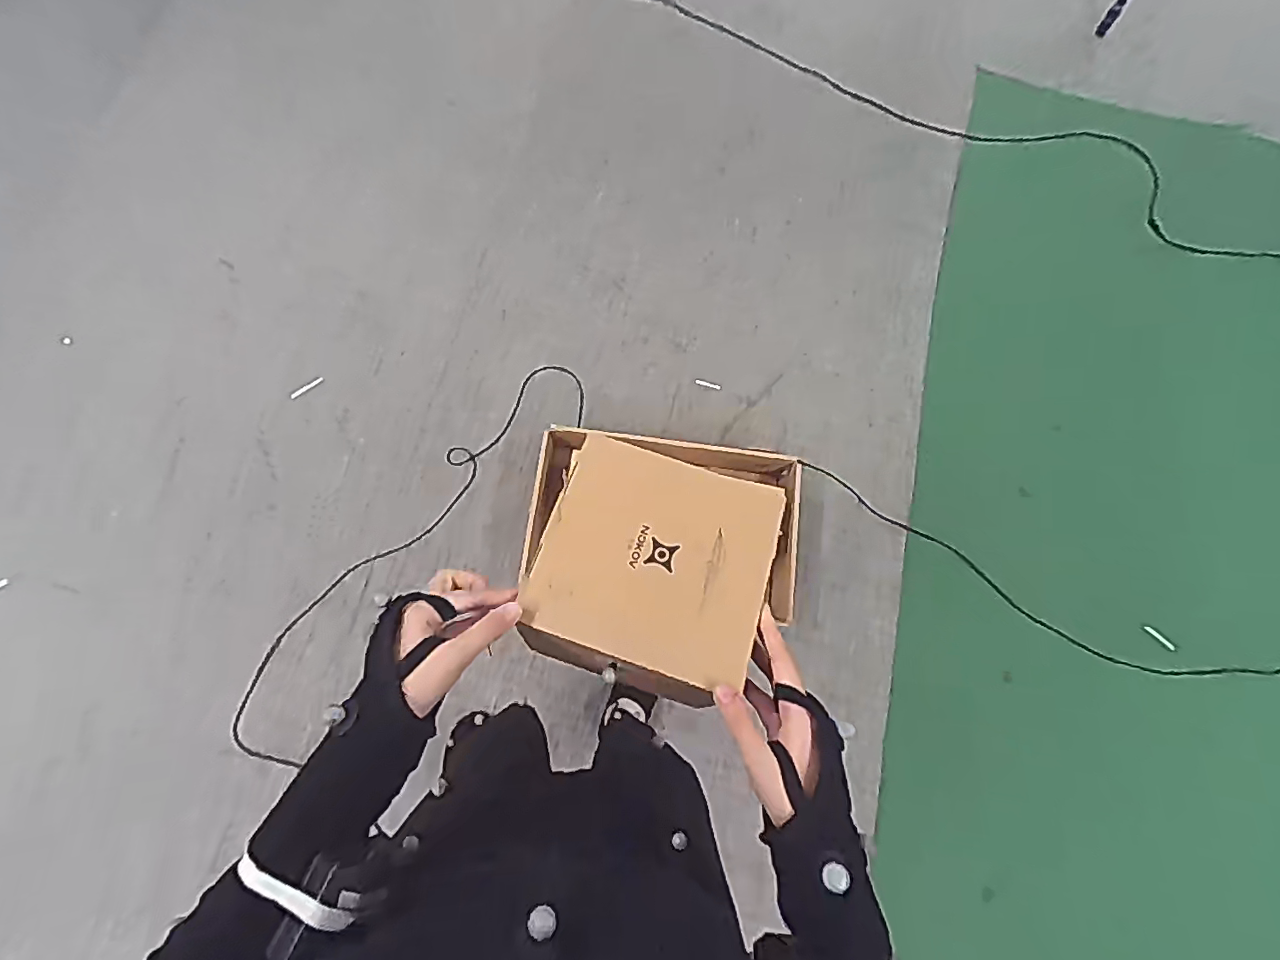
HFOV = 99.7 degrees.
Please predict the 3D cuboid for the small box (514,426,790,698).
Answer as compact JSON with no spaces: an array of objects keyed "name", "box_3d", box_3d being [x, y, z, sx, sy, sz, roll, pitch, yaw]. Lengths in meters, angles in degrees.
[{"name":"small box","box_3d":[0.008,0.084,0.483,0.179,0.176,0.168,20,64,3]}]
